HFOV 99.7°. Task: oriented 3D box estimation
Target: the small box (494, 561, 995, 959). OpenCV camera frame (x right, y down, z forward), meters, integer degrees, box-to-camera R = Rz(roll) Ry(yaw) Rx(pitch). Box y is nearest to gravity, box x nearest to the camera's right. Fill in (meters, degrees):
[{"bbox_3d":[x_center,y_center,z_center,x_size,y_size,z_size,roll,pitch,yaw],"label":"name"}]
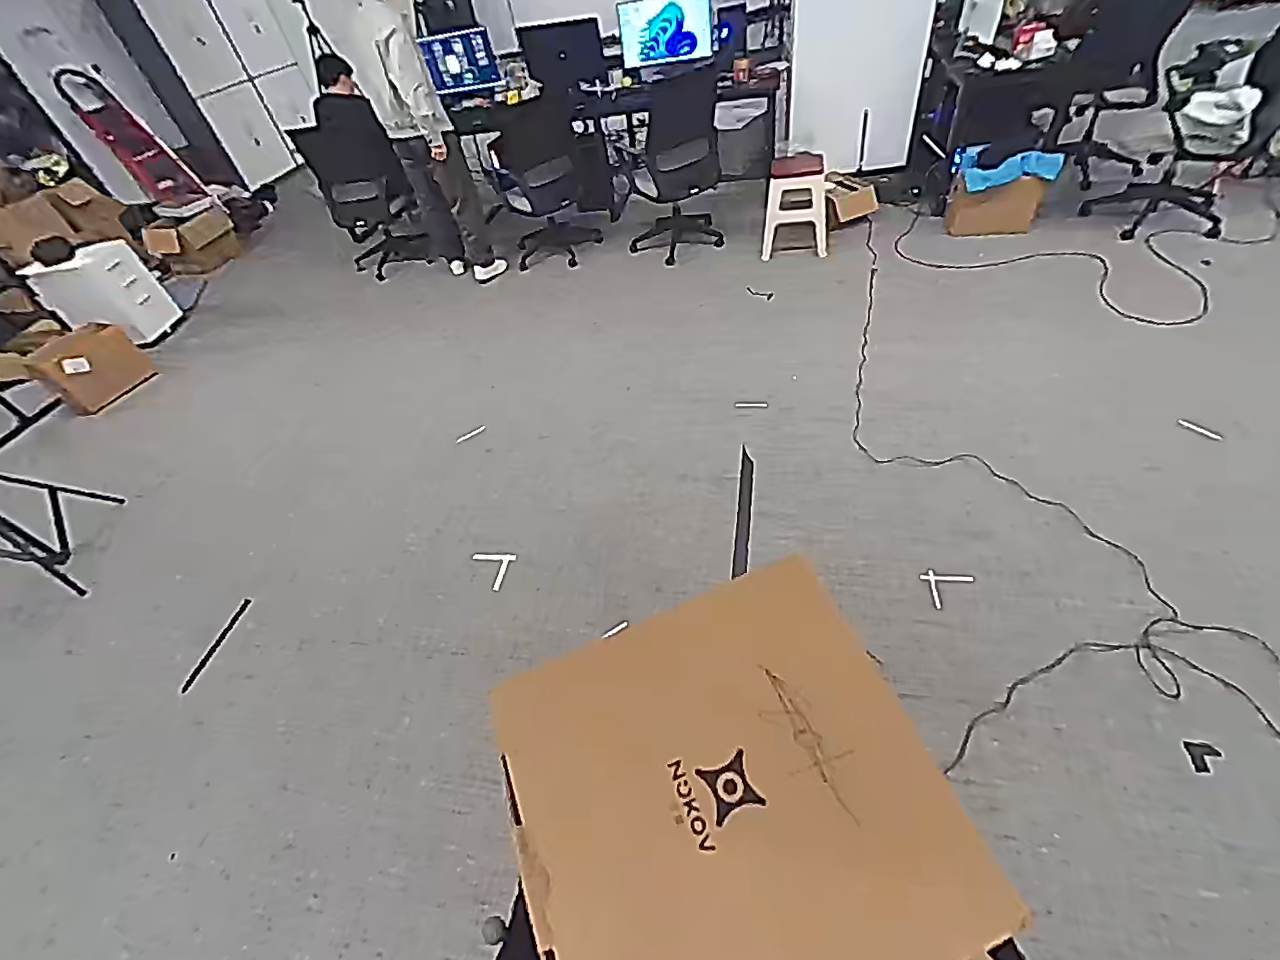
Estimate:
[{"bbox_3d":[0.043,0.178,0.312,0.179,0.176,0.168,-23,60,-7],"label":"small box"}]
